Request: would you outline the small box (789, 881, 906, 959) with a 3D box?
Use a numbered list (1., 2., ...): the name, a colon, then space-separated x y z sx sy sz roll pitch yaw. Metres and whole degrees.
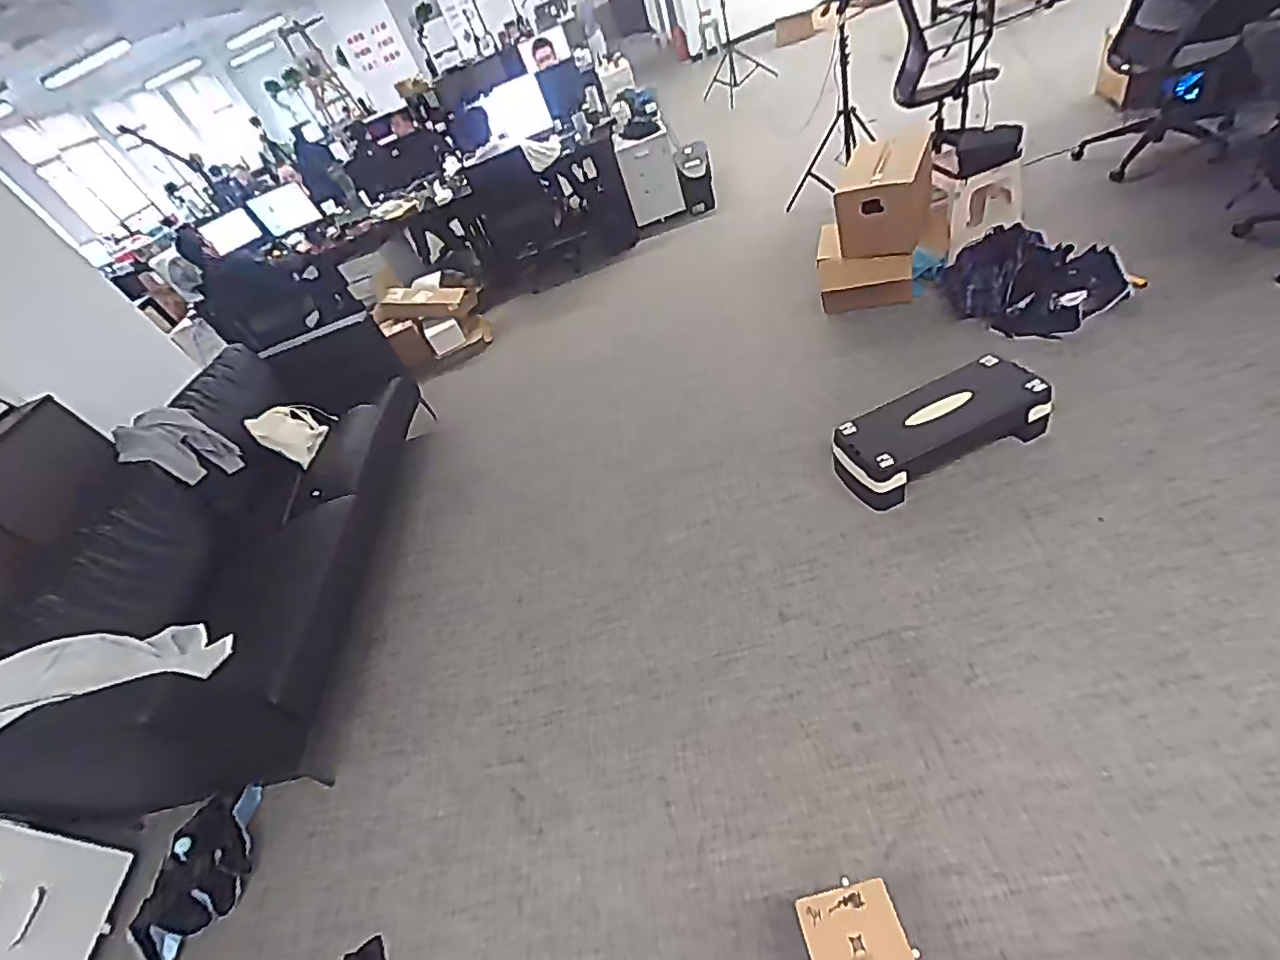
1. small box: 0.386 0.854 0.969 0.168 0.176 0.179 -20 43 6
